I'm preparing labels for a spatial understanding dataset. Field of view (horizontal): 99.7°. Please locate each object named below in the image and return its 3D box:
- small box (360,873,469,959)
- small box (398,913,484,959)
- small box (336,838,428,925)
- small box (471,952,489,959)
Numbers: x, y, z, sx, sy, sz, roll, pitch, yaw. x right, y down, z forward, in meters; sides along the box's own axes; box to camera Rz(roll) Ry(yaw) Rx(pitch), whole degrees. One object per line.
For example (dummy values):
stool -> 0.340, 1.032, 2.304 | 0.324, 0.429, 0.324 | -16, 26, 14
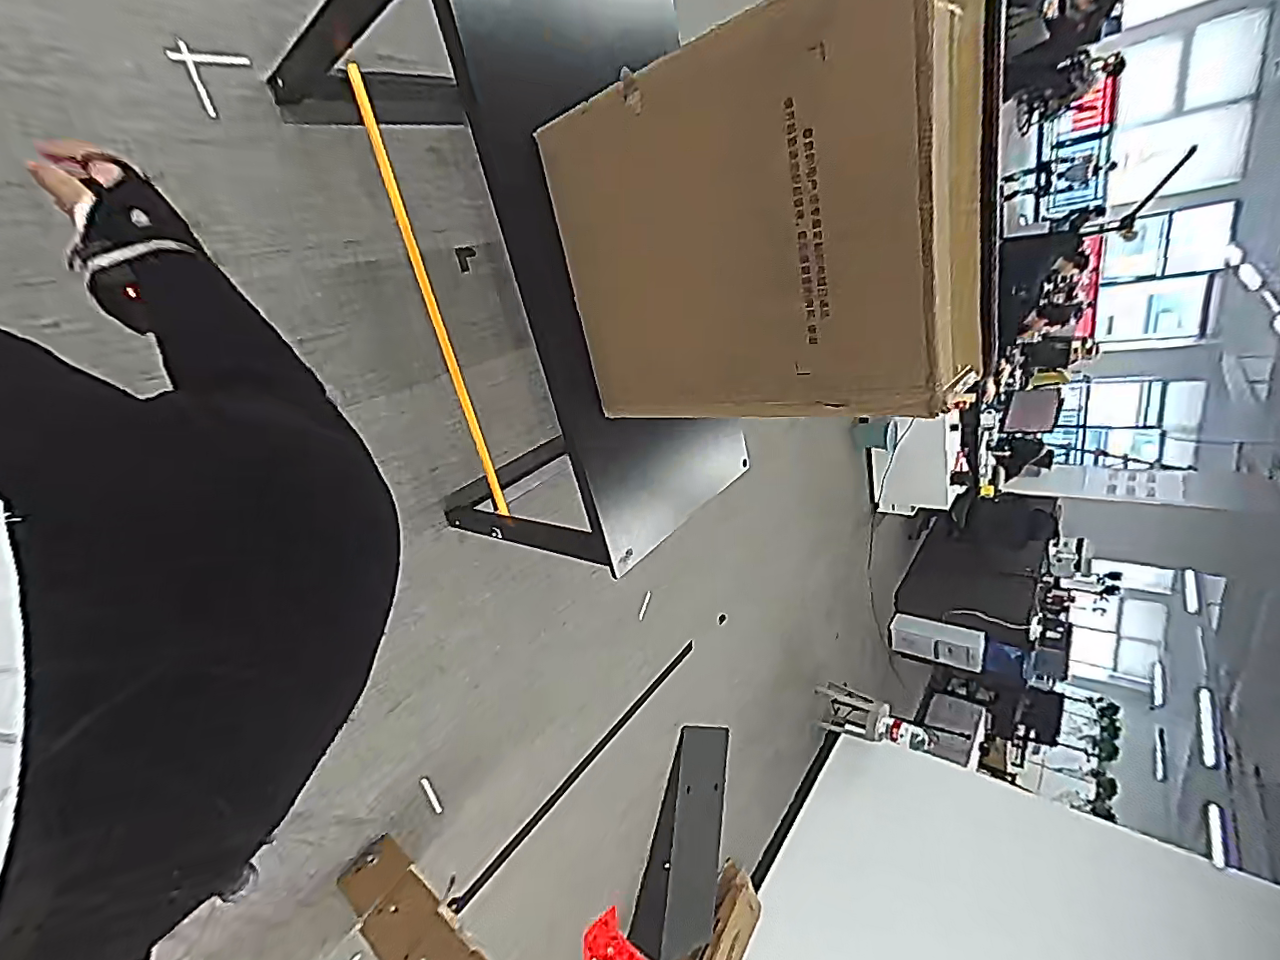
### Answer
small box -> -0.593, 1.191, 1.426 | 0.168, 0.176, 0.179 | -44, 126, -39
small box -> -0.477, 1.206, 1.311 | 0.168, 0.176, 0.179 | -45, 127, -37
small box -> -0.719, 1.164, 1.530 | 0.168, 0.176, 0.179 | -38, 121, -41
small box -> -0.348, 1.221, 1.208 | 0.179, 0.176, 0.168 | -46, 127, -36
